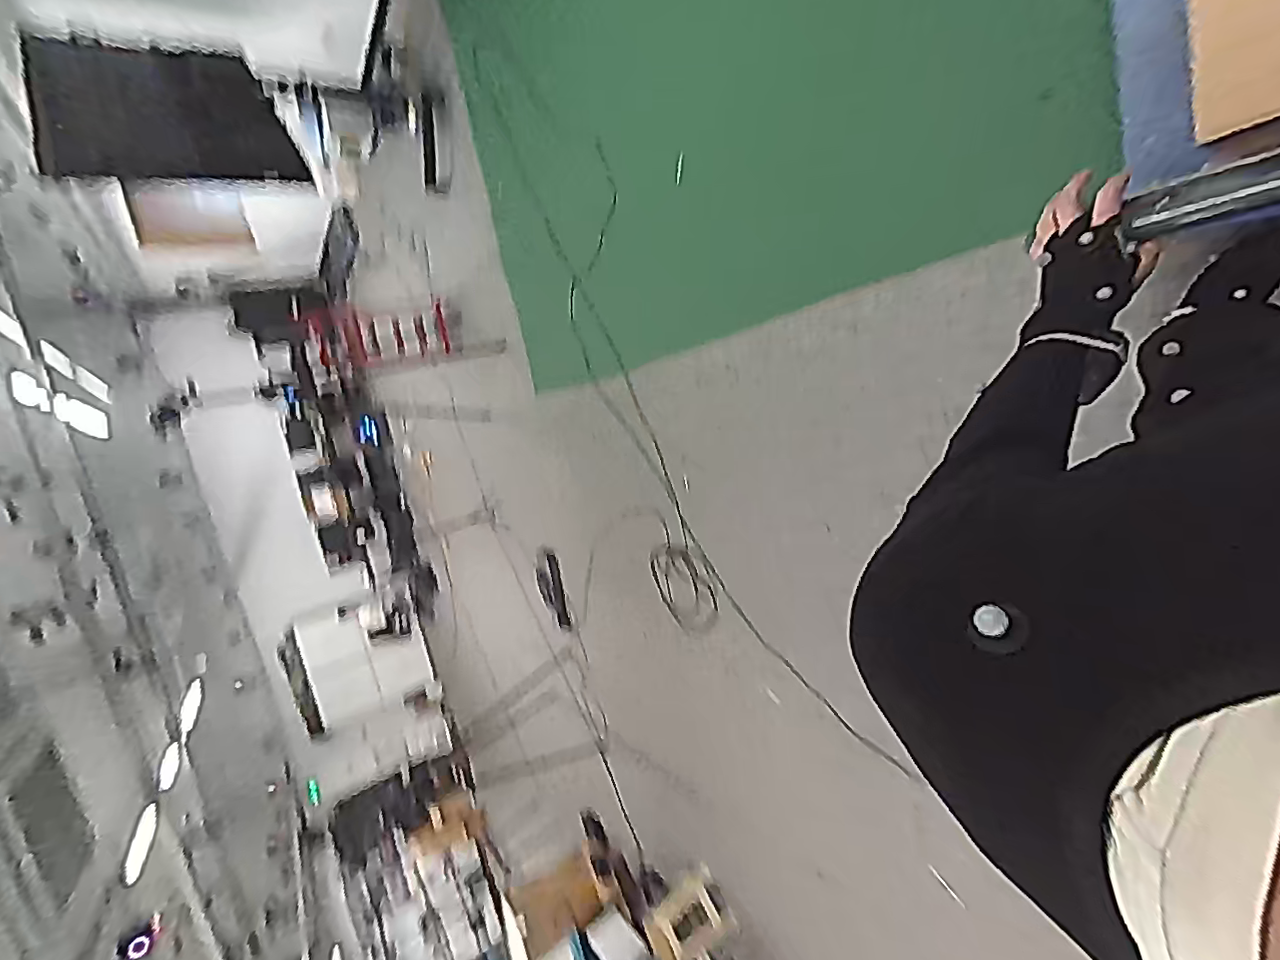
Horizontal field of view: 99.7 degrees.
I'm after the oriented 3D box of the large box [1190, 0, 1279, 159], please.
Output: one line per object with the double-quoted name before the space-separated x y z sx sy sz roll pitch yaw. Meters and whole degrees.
"large box" 0.965 -0.705 0.699 0.320 0.320 0.408 2 106 55
